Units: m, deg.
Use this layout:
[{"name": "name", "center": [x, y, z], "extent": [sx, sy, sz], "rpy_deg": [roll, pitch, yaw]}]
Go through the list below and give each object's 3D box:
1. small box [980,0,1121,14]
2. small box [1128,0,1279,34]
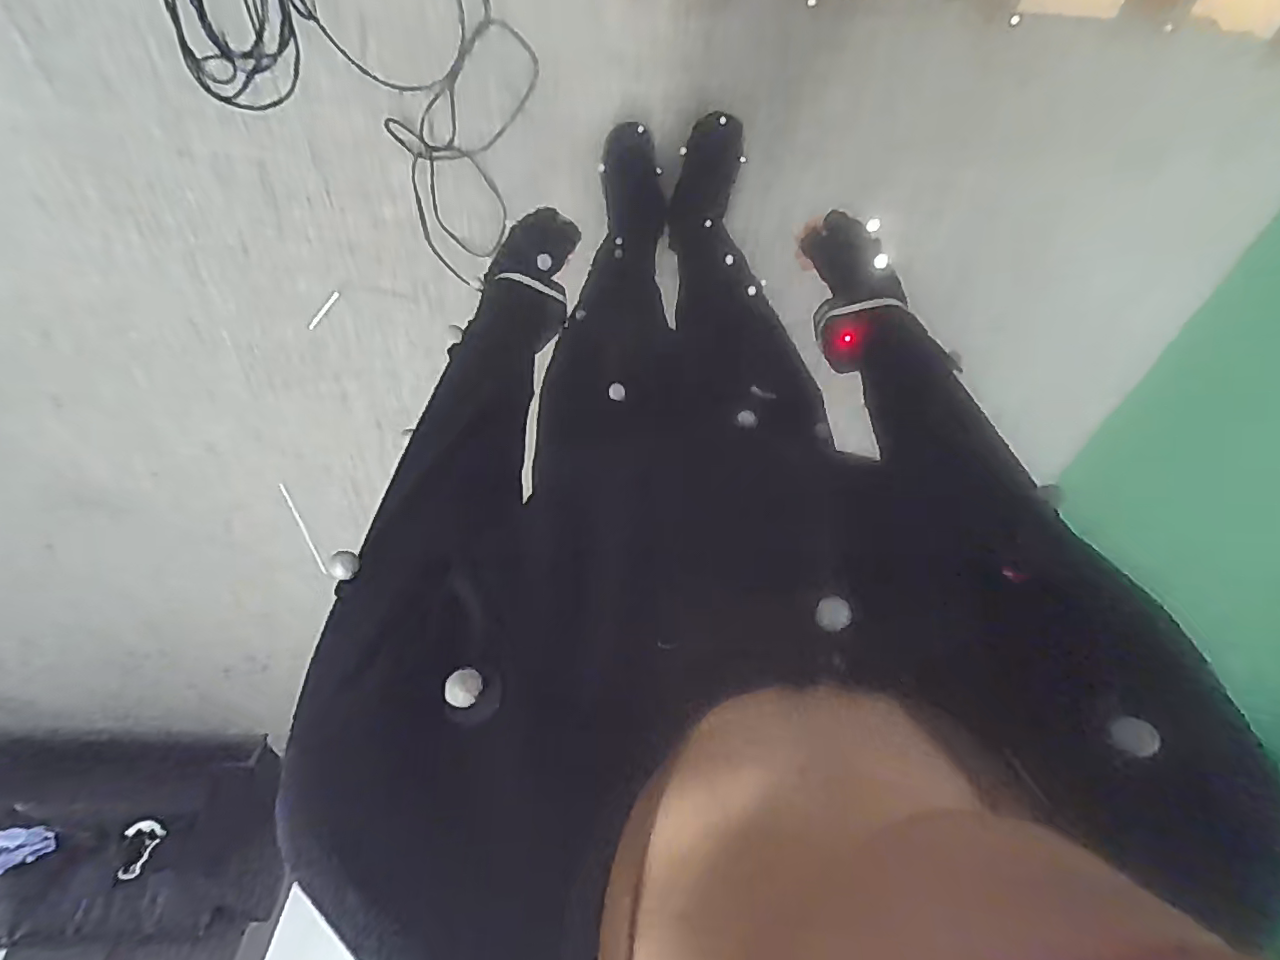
[{"name": "small box", "center": [0.687, -0.871, 0.866], "extent": [0.168, 0.176, 0.179], "rpy_deg": [3, 134, -1]}, {"name": "small box", "center": [0.972, -0.862, 0.879], "extent": [0.168, 0.176, 0.179], "rpy_deg": [8, 132, -8]}]
